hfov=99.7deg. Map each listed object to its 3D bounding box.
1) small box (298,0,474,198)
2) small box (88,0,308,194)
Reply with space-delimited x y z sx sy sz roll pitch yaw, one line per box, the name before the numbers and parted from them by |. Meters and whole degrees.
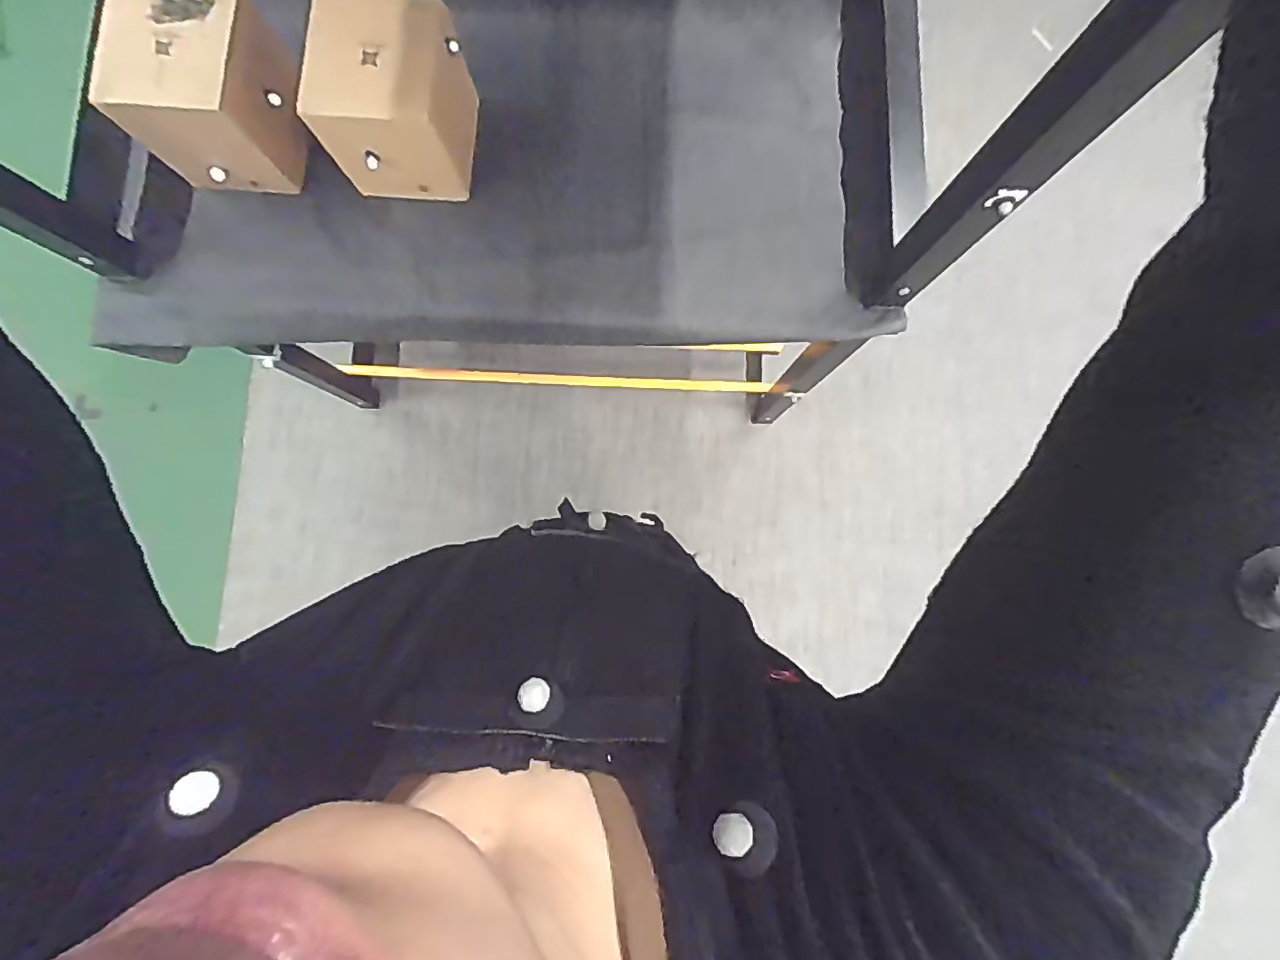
small box | -0.342 -0.526 0.761 0.168 0.176 0.179 3 83 -1
small box | -0.595 -0.538 0.756 0.168 0.176 0.179 3 84 0
